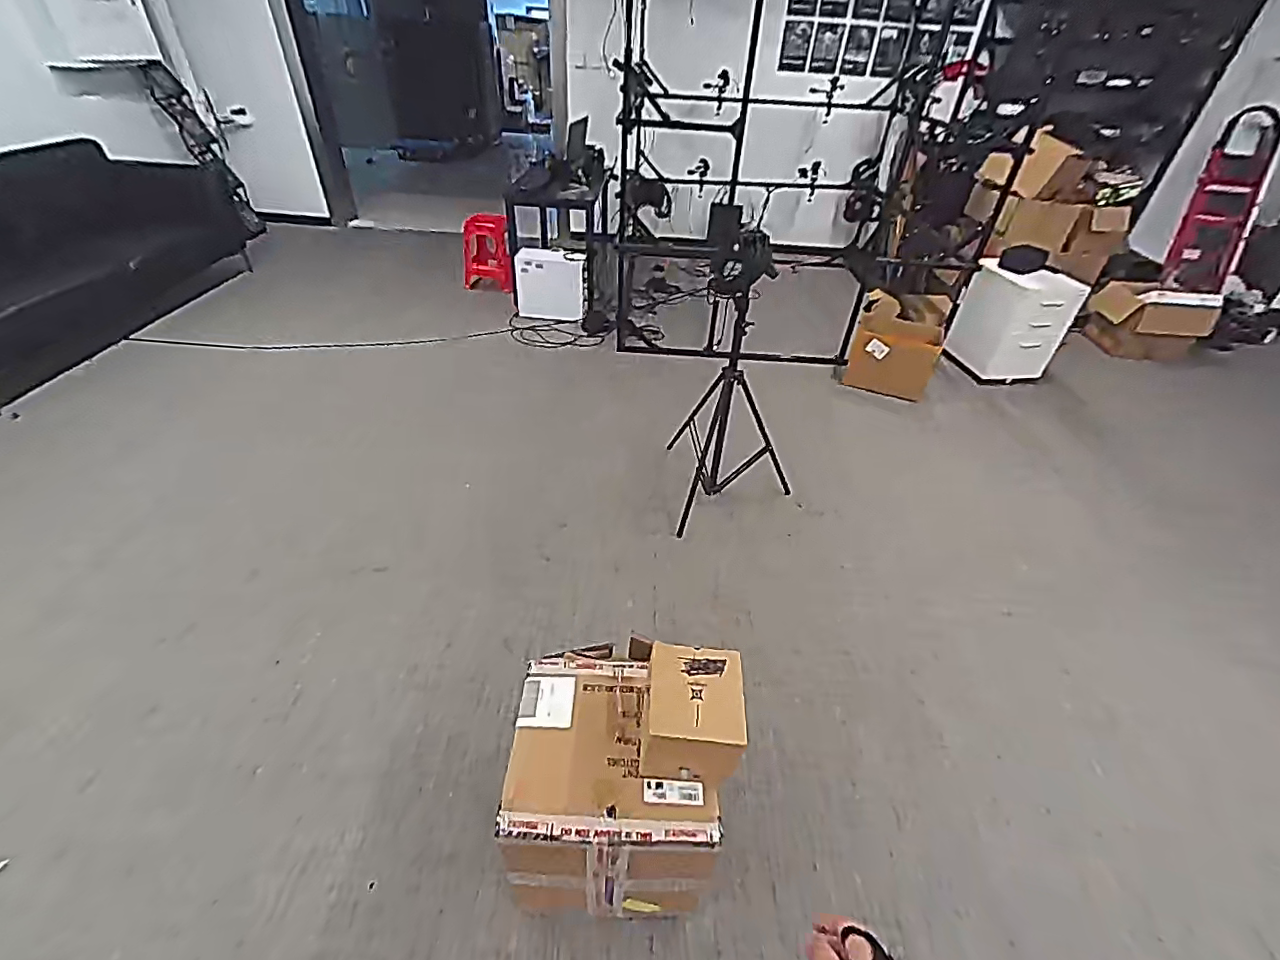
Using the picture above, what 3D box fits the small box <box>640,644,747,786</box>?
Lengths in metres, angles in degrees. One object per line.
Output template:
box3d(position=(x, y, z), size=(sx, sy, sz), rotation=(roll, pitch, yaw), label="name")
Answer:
box3d(position=(0.092, 0.431, 0.993), size=(0.168, 0.176, 0.179), rotation=(6, 41, 0), label="small box")
